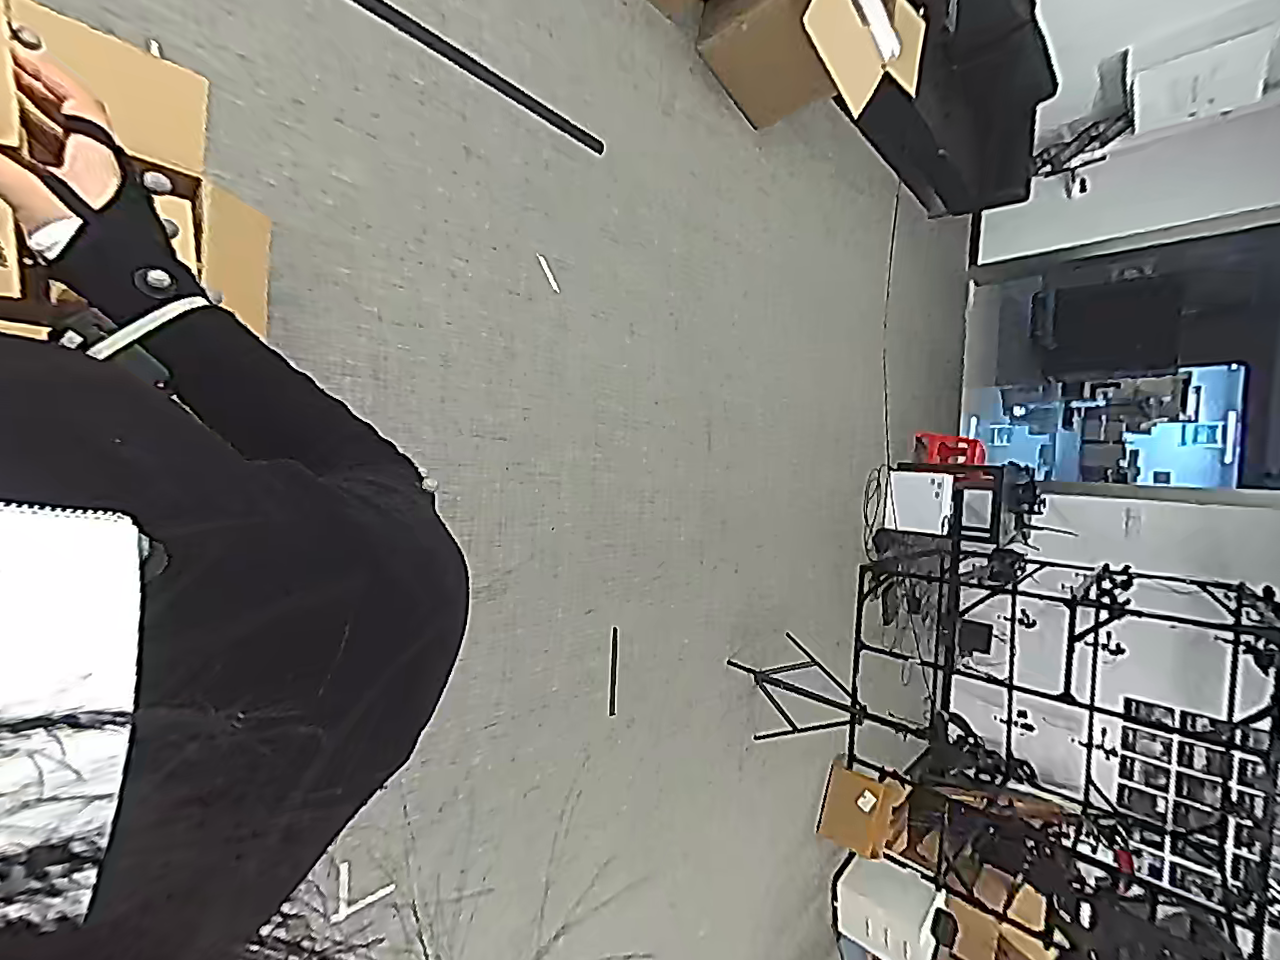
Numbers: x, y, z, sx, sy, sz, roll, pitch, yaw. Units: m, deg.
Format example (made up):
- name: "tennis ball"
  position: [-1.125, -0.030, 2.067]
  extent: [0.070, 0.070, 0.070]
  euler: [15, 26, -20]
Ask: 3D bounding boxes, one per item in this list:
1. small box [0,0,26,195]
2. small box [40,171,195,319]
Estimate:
- name: "small box"
  position: [-0.503, -0.294, 0.324]
  extent: [0.168, 0.176, 0.179]
  euler: [-8, 105, -47]
- name: "small box"
  position: [-0.872, -0.375, 0.905]
  extent: [0.168, 0.176, 0.179]
  euler: [-7, 99, -50]
